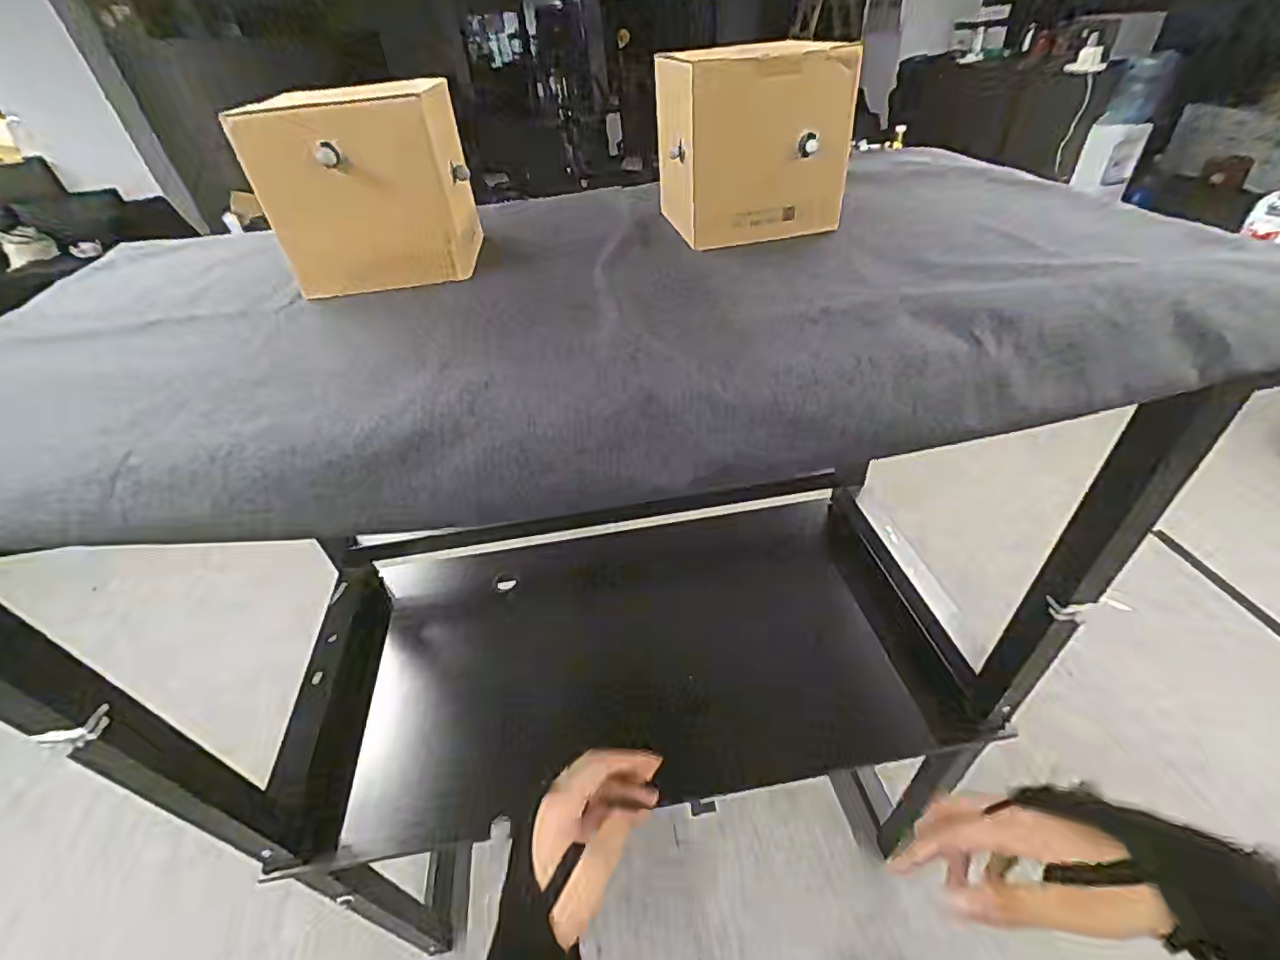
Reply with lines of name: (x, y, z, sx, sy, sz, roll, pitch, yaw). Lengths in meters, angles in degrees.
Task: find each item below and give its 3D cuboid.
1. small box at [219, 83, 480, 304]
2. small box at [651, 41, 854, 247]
small box: (-0.283, -0.307, 0.581, 0.179, 0.176, 0.168, -9, 41, -3)
small box: (0.112, -0.373, 0.606, 0.168, 0.176, 0.179, -10, 41, -6)
